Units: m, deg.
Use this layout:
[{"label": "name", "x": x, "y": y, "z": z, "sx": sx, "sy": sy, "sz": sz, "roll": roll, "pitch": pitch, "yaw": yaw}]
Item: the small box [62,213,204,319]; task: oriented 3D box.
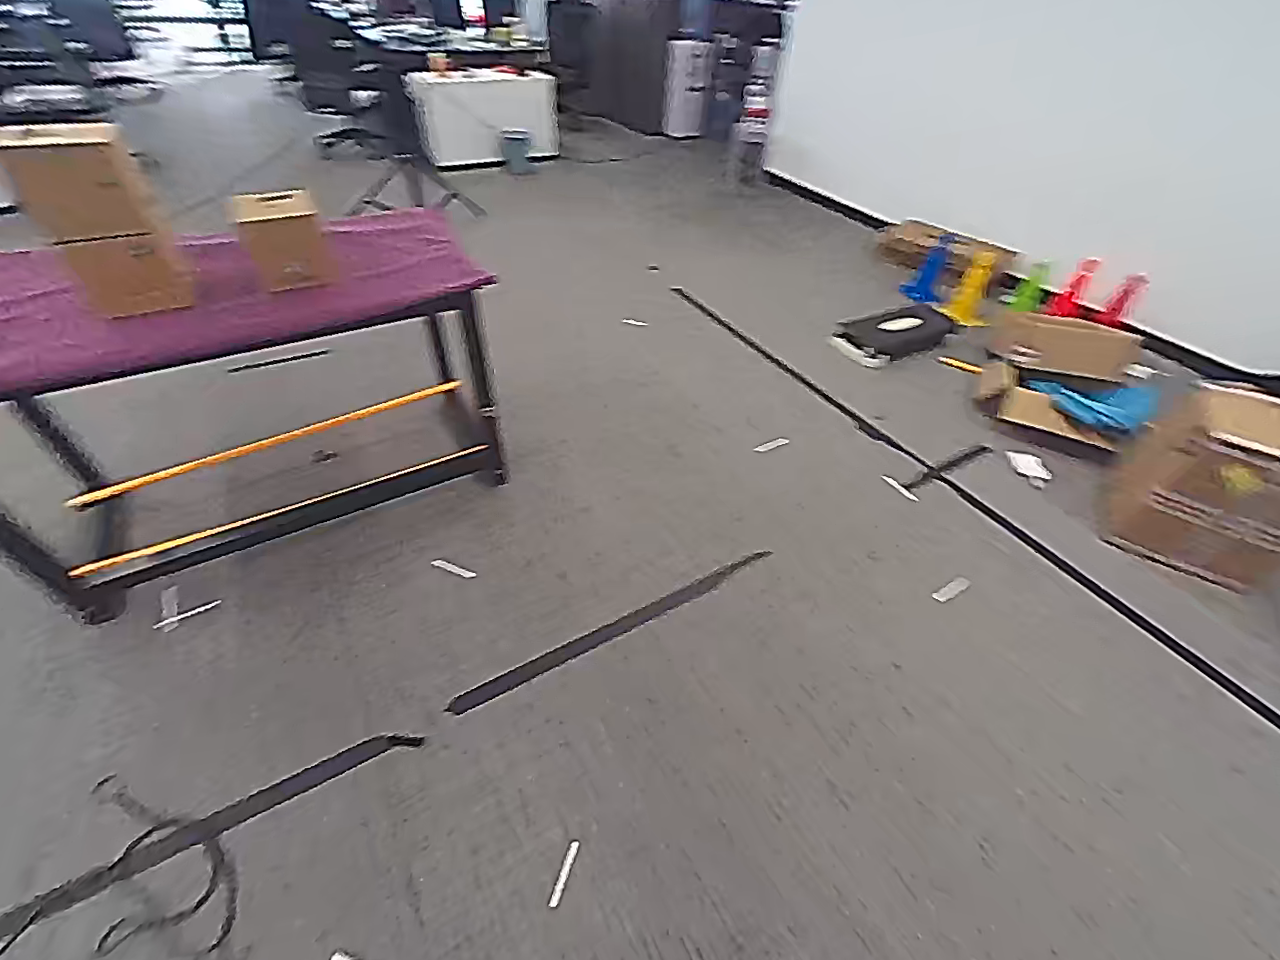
[{"label": "small box", "x": -1.129, "y": -0.481, "z": 1.221, "sx": 0.179, "sy": 0.176, "sz": 0.168, "roll": -20, "pitch": 49, "yaw": -24}]

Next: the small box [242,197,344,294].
[{"label": "small box", "x": -0.861, "y": -0.585, "z": 1.348, "sx": 0.168, "sy": 0.176, "sz": 0.179, "roll": -19, "pitch": 49, "yaw": -22}]
